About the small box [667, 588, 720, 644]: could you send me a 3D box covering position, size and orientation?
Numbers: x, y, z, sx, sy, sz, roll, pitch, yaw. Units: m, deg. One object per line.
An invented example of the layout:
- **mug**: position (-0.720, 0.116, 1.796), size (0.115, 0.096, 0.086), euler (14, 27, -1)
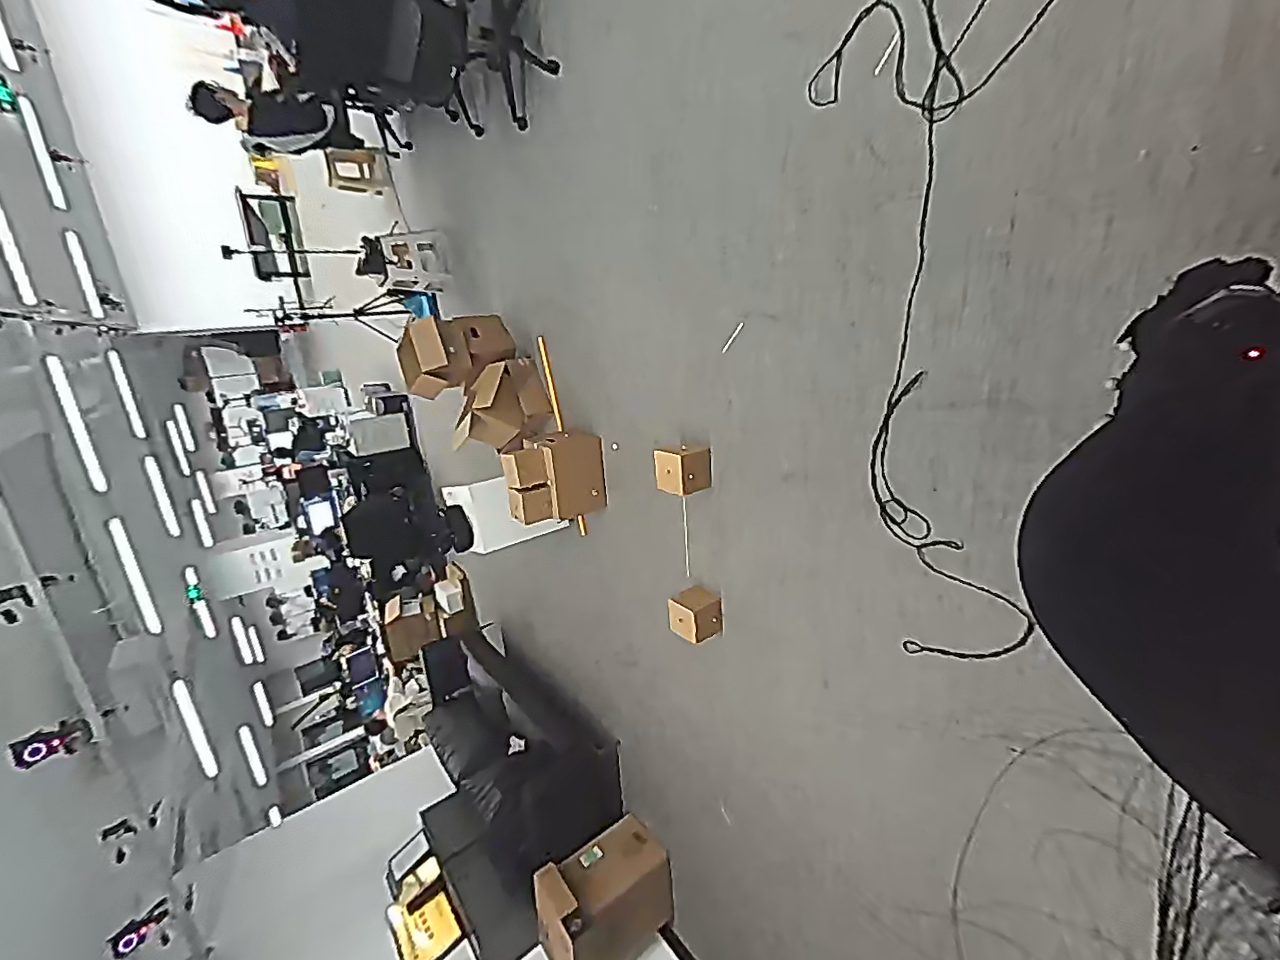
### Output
- **small box**: position (0.243, 0.606, 2.449), size (0.179, 0.176, 0.168), euler (16, 117, 51)

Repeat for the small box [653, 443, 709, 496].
- **small box**: position (0.174, -0.050, 2.264), size (0.168, 0.176, 0.179), euler (16, 117, 50)
